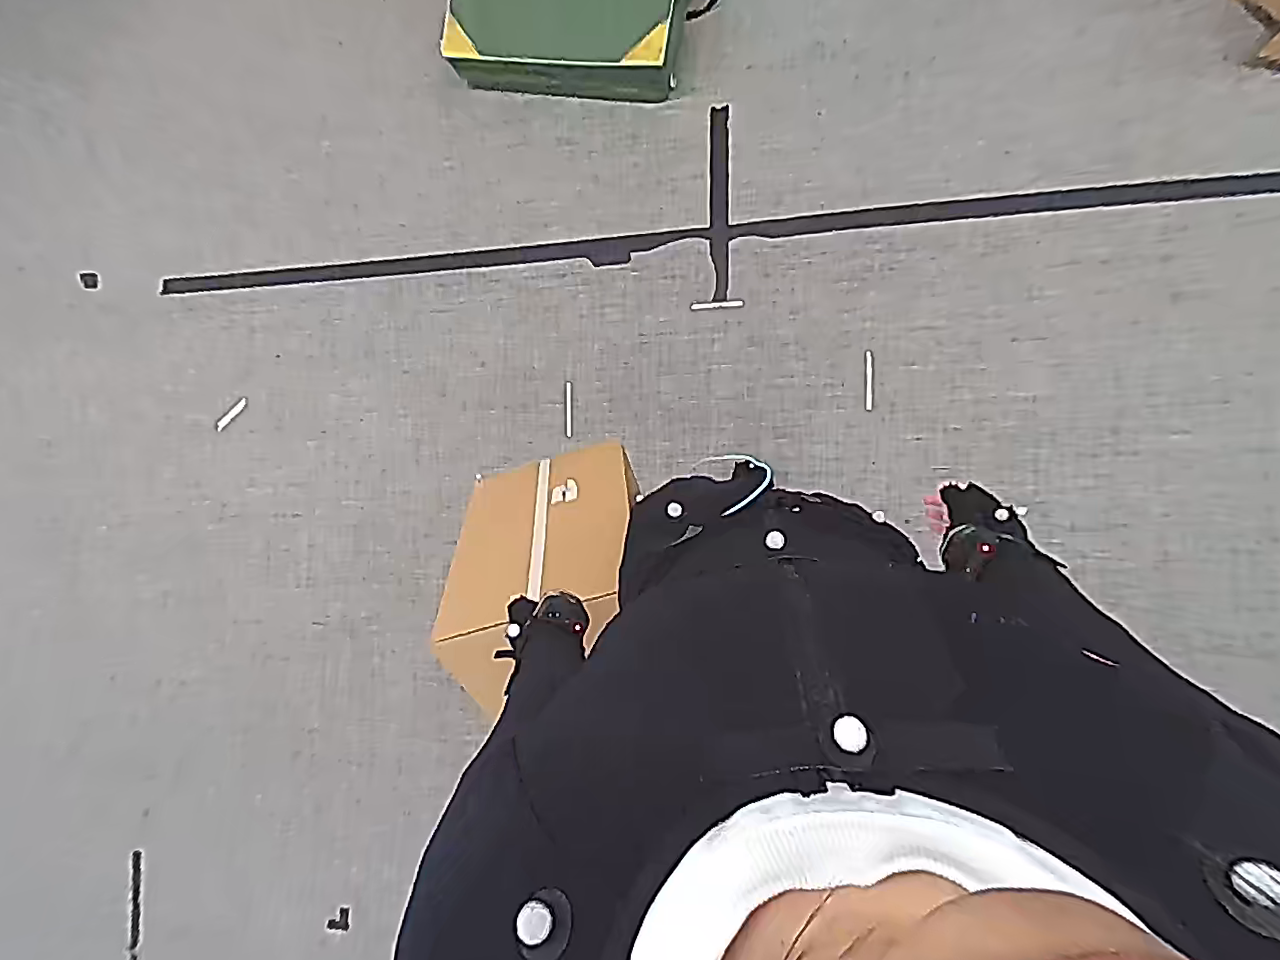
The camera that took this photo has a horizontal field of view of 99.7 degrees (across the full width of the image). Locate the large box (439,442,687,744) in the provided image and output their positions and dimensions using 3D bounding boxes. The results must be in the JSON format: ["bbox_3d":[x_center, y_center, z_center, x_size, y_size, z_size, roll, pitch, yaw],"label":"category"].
[{"bbox_3d":[-0.123,0.194,1.003,0.320,0.408,0.320,-16,125,4],"label":"large box"}]
